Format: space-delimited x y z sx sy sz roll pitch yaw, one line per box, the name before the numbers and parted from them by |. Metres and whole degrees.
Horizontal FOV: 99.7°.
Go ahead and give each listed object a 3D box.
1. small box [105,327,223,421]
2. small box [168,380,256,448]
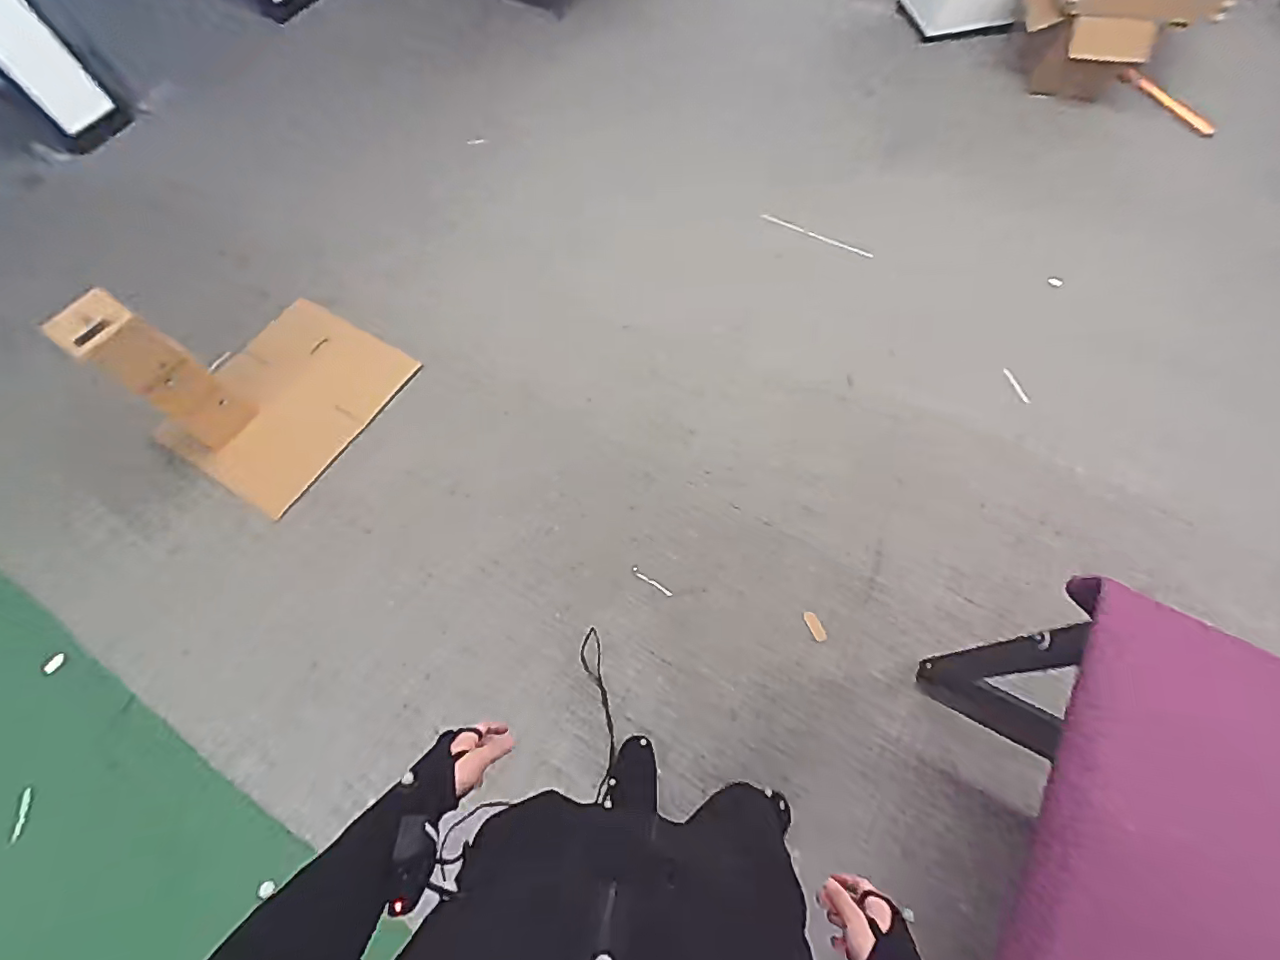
small box | -1.395 -0.310 1.606 0.168 0.176 0.179 31 71 14
small box | -1.395 -0.239 1.751 0.168 0.176 0.179 30 70 15
